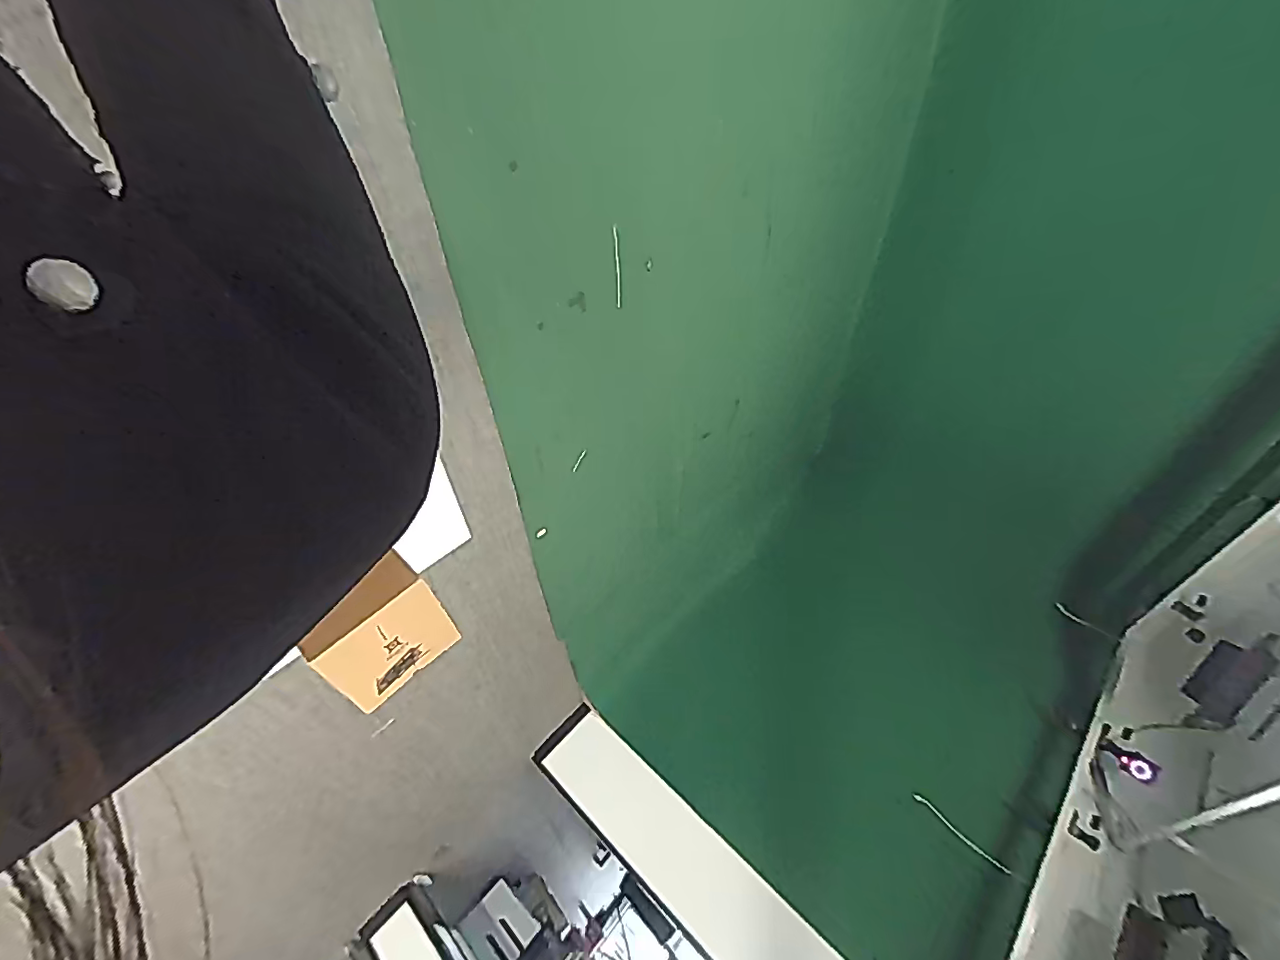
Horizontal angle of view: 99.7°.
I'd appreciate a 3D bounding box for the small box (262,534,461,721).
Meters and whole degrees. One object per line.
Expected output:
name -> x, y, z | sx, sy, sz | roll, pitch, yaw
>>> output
small box -> -0.403, 0.212, 0.797 | 0.168, 0.176, 0.179 | -42, 148, -25
